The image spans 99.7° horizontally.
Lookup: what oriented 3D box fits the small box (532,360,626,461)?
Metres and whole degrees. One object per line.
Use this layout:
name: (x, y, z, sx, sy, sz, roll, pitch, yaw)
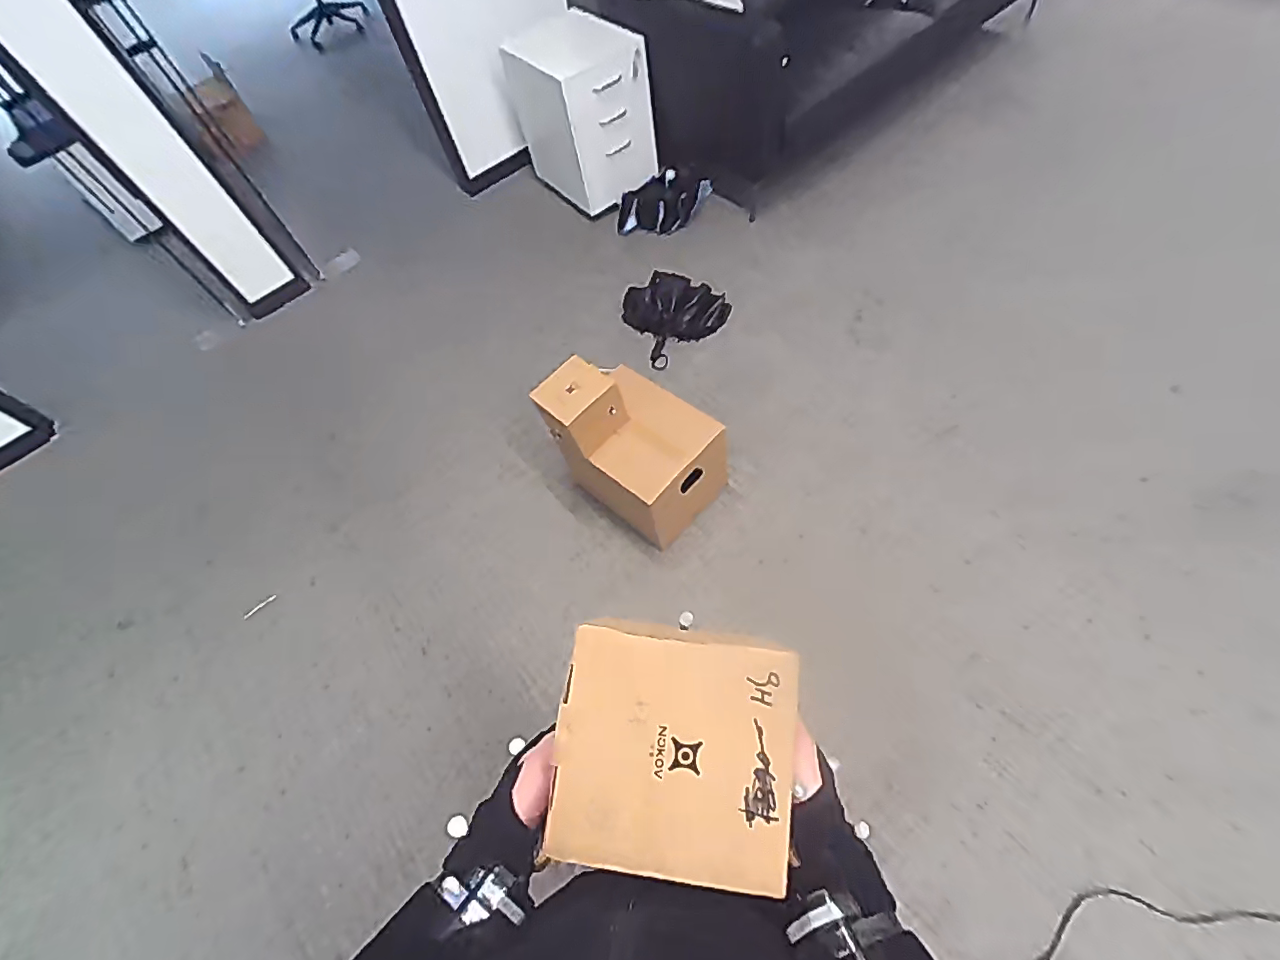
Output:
small box: (-0.157, -0.186, 1.473, 0.168, 0.176, 0.179, 38, 76, 28)
